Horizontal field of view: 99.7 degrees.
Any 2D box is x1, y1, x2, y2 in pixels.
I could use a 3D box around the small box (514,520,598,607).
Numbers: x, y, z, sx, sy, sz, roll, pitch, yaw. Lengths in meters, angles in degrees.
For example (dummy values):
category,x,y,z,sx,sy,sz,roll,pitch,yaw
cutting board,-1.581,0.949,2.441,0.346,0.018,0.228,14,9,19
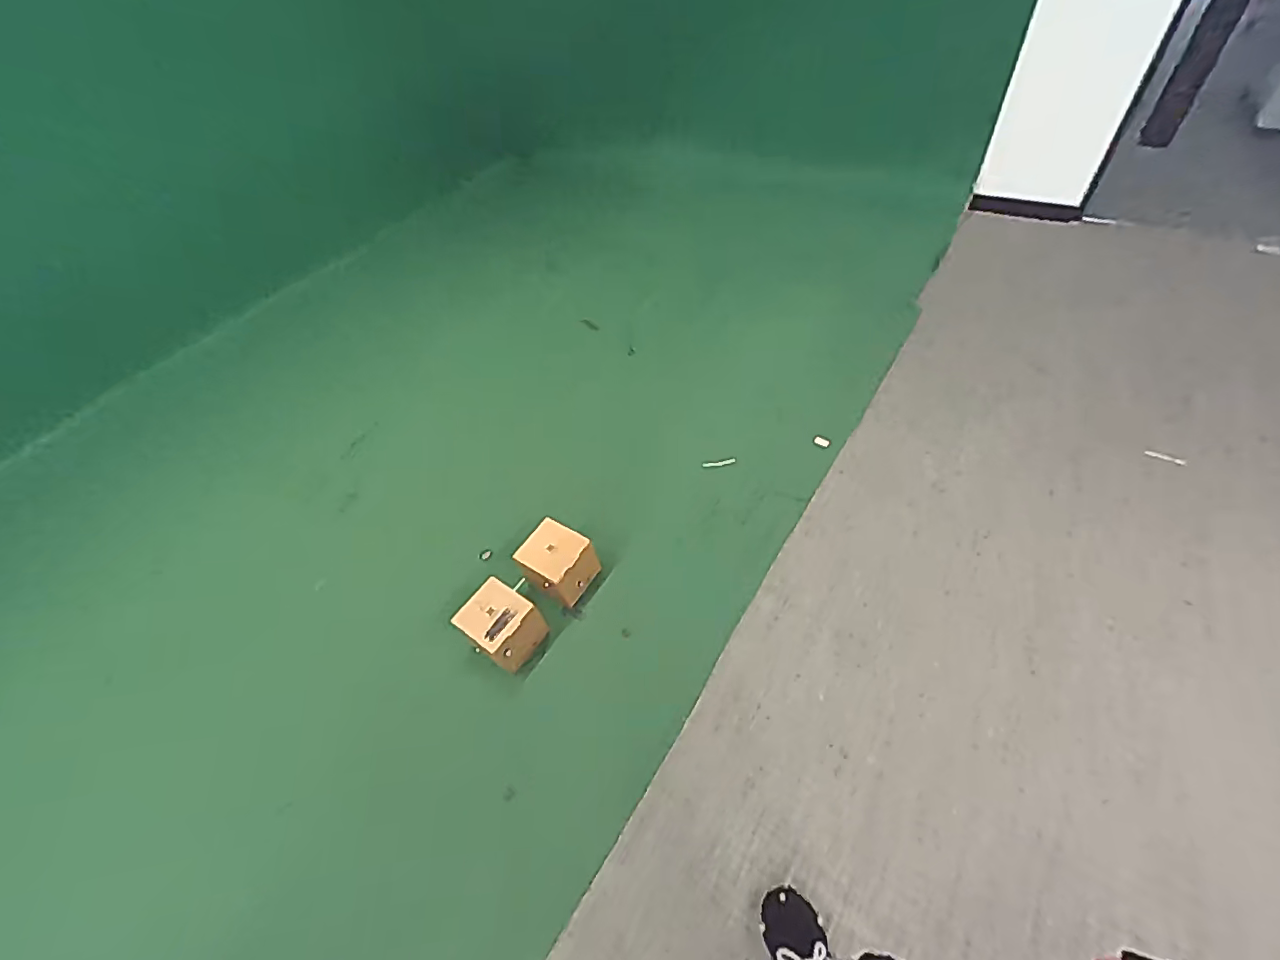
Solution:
category,x,y,z,sx,sy,sz,roll,pitch,yaw
small box,-0.250,0.258,1.652,0.179,0.176,0.168,25,58,25
